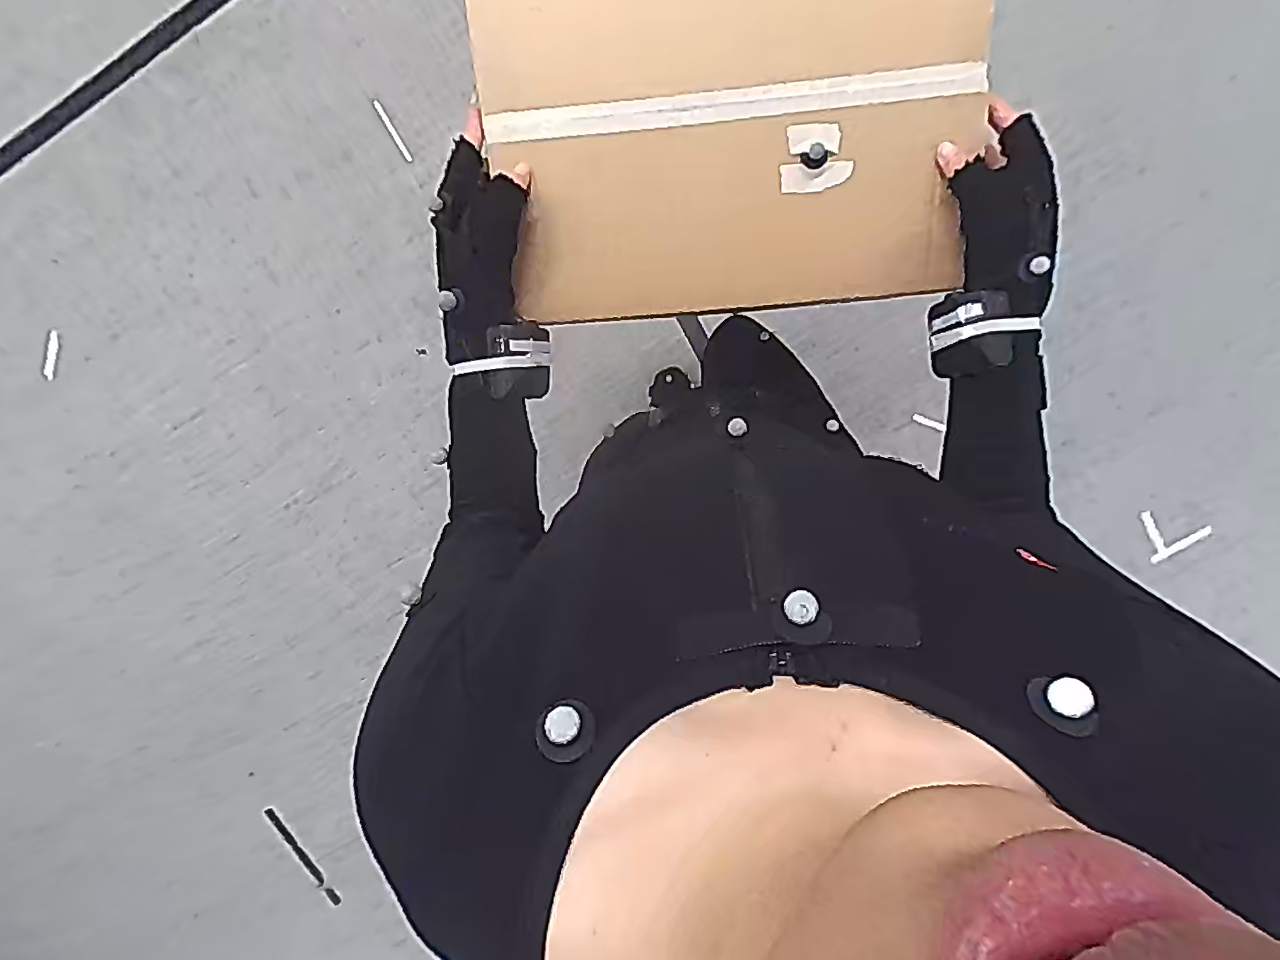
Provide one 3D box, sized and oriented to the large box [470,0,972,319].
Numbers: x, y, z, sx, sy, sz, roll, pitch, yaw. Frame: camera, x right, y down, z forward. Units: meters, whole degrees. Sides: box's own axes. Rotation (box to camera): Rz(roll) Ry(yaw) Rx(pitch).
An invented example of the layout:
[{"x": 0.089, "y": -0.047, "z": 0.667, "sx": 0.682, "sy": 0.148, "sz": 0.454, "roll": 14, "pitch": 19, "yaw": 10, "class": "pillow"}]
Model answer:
[{"x": 0.070, "y": -0.358, "z": 0.593, "sx": 0.408, "sy": 0.320, "sz": 0.320, "roll": -4, "pitch": 106, "yaw": 3, "class": "large box"}]
